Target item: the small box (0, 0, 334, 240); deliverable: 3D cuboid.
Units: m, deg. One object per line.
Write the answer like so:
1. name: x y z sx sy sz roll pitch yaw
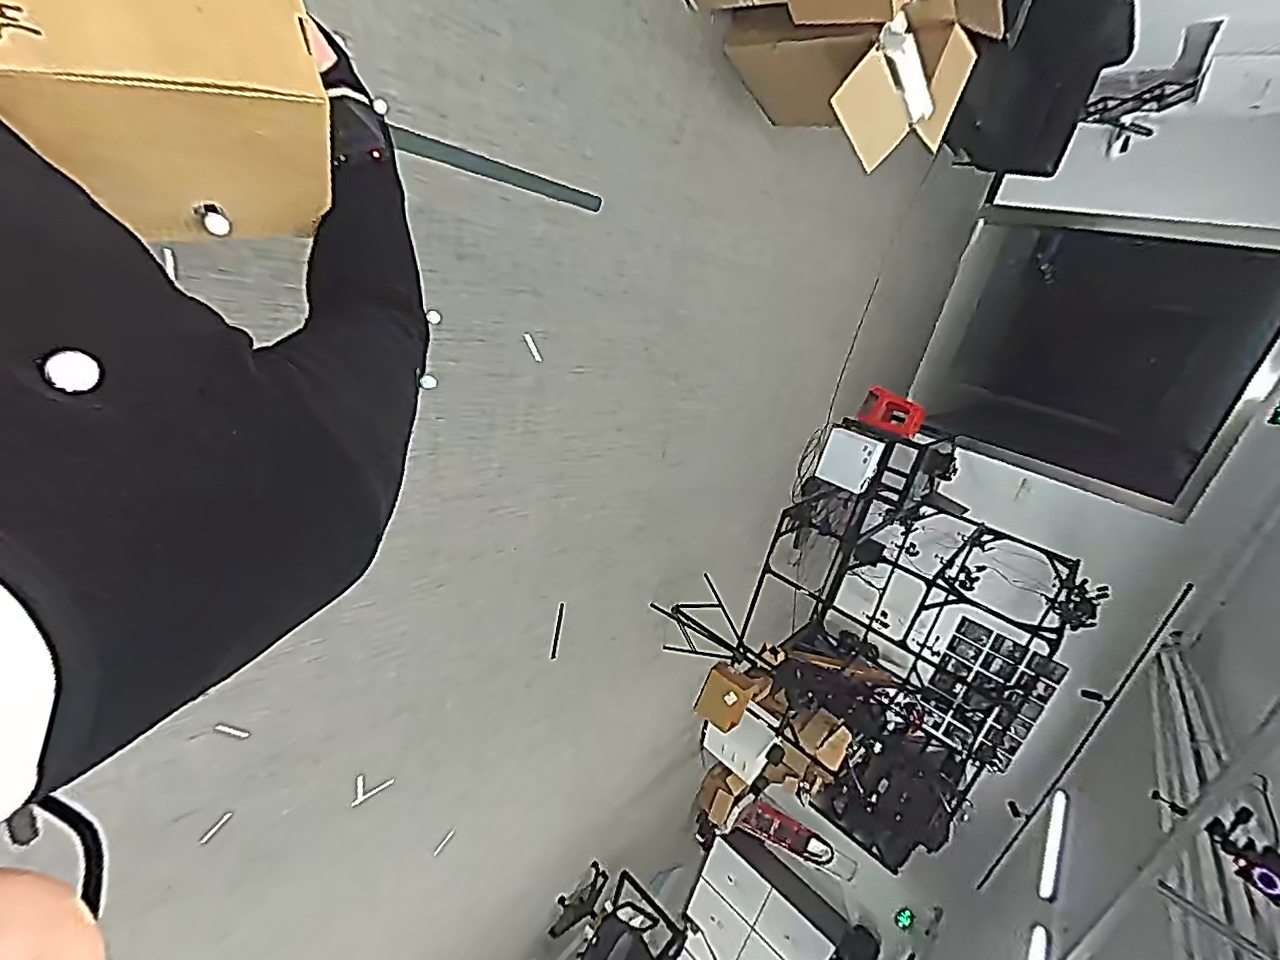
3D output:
1. small box: -0.350 -0.302 0.408 0.179 0.176 0.168 -17 88 -31
